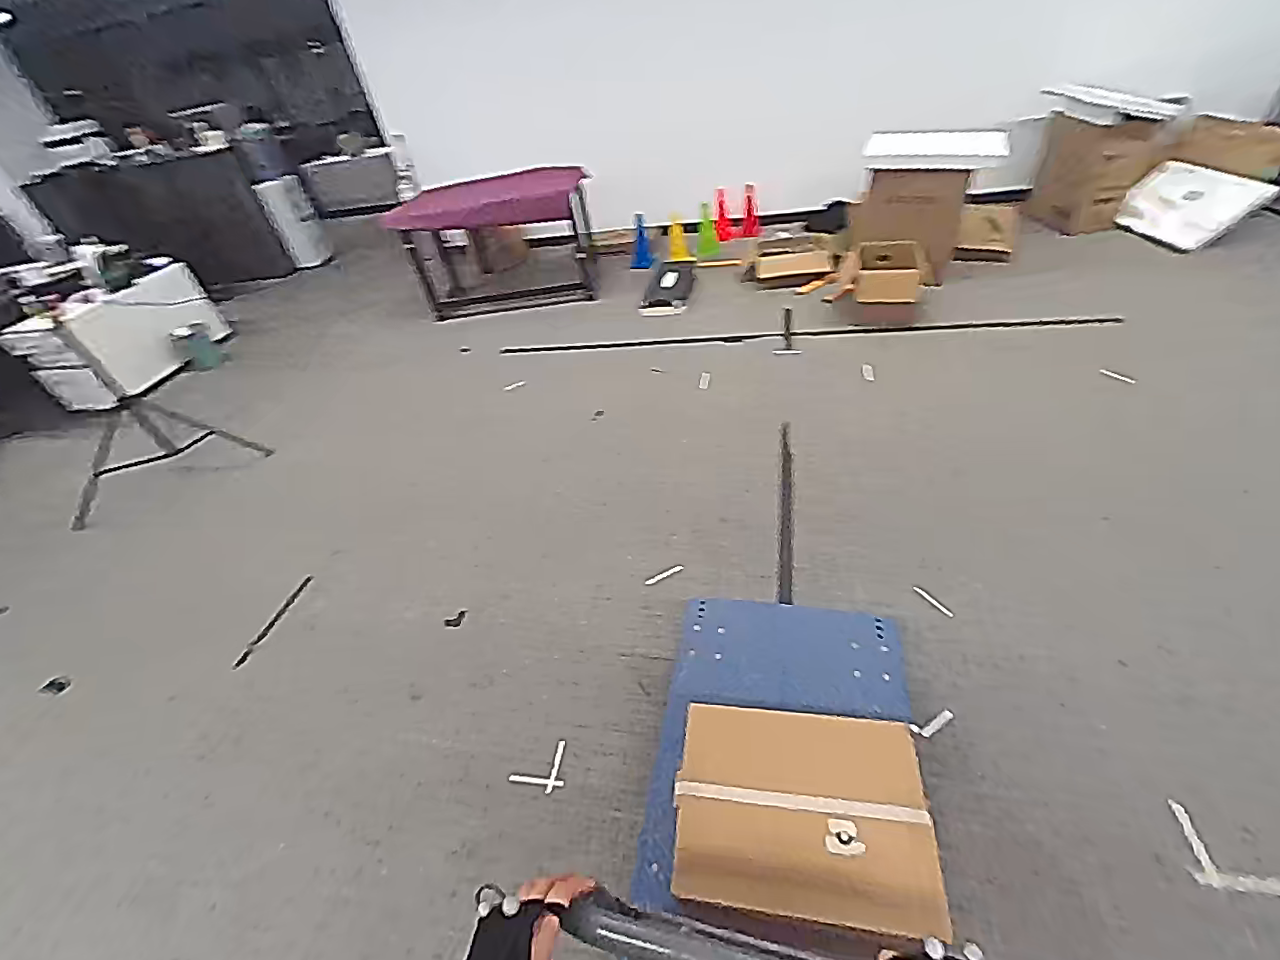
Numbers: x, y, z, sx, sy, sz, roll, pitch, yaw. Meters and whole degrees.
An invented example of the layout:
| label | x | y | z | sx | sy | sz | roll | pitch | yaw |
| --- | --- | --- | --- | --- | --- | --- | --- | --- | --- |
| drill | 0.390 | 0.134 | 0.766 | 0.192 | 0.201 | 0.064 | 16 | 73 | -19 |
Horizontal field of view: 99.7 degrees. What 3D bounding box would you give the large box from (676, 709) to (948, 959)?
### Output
| label | x | y | z | sx | sy | sz | roll | pitch | yaw |
| --- | --- | --- | --- | --- | --- | --- | --- | --- | --- |
| large box | 0.288 | 0.665 | 1.017 | 0.408 | 0.320 | 0.320 | 0 | 43 | 11 |
